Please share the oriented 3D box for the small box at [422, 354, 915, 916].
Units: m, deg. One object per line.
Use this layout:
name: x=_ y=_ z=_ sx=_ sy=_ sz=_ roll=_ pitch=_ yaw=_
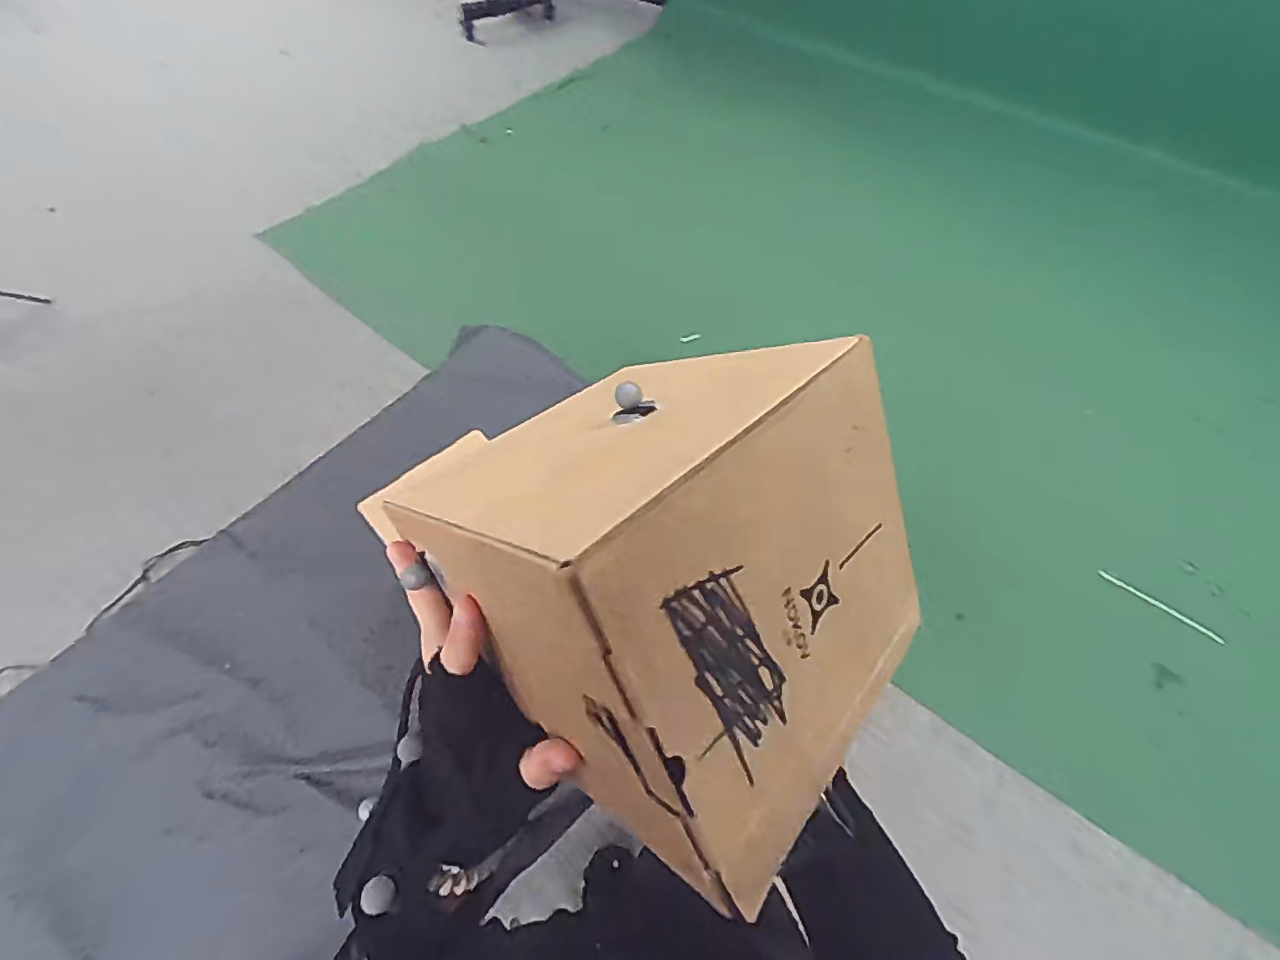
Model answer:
small box: x=0.011 y=0.051 z=0.283 sx=0.179 sy=0.168 sz=0.176 roll=-36 pitch=25 yaw=-32
